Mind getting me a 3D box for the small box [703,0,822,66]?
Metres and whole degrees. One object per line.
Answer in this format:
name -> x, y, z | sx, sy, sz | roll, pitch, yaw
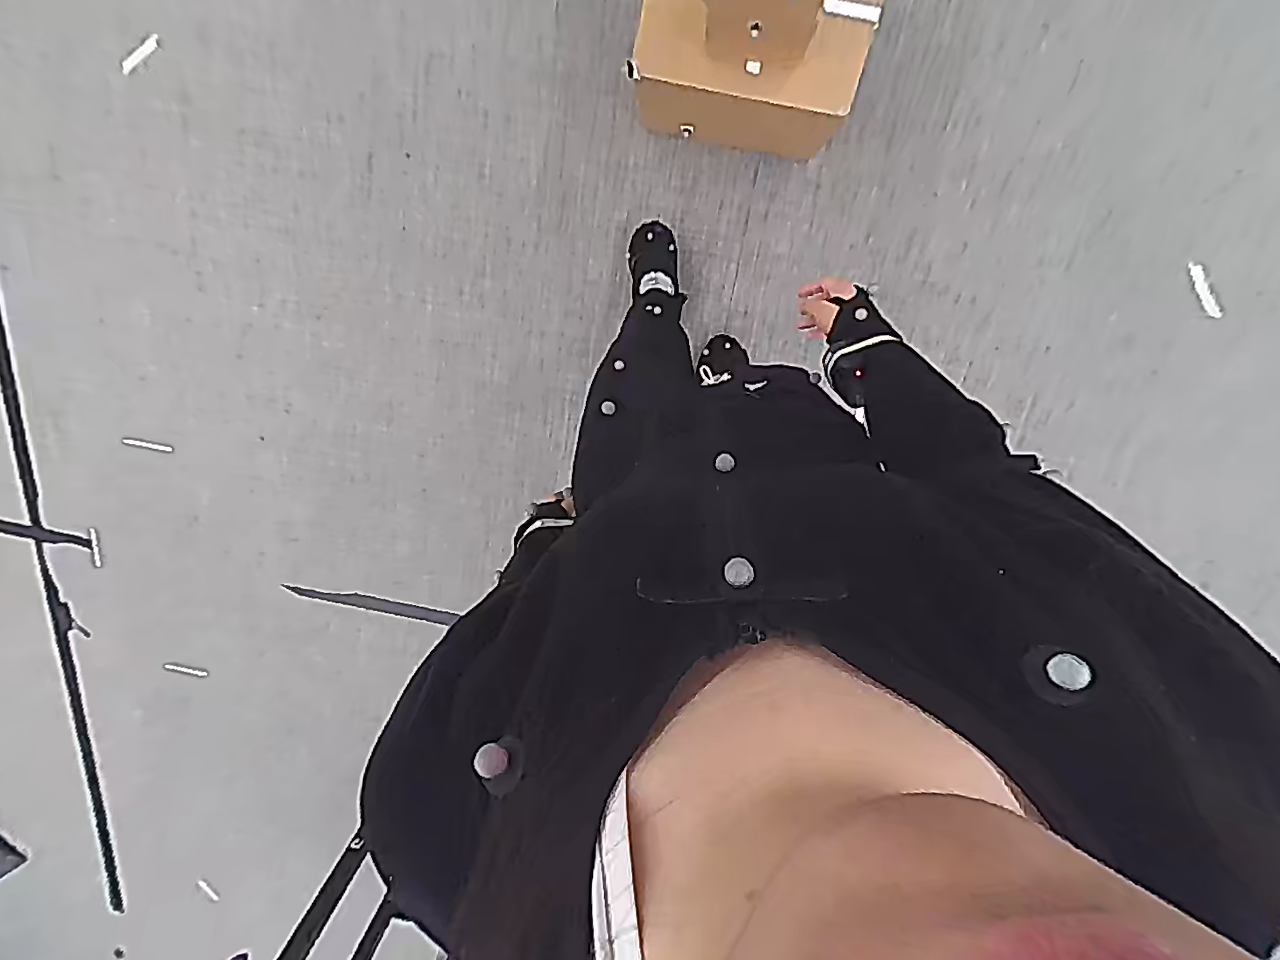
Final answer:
small box -> 0.199, -0.794, 0.858 | 0.179, 0.176, 0.168 | 10, 109, 1
